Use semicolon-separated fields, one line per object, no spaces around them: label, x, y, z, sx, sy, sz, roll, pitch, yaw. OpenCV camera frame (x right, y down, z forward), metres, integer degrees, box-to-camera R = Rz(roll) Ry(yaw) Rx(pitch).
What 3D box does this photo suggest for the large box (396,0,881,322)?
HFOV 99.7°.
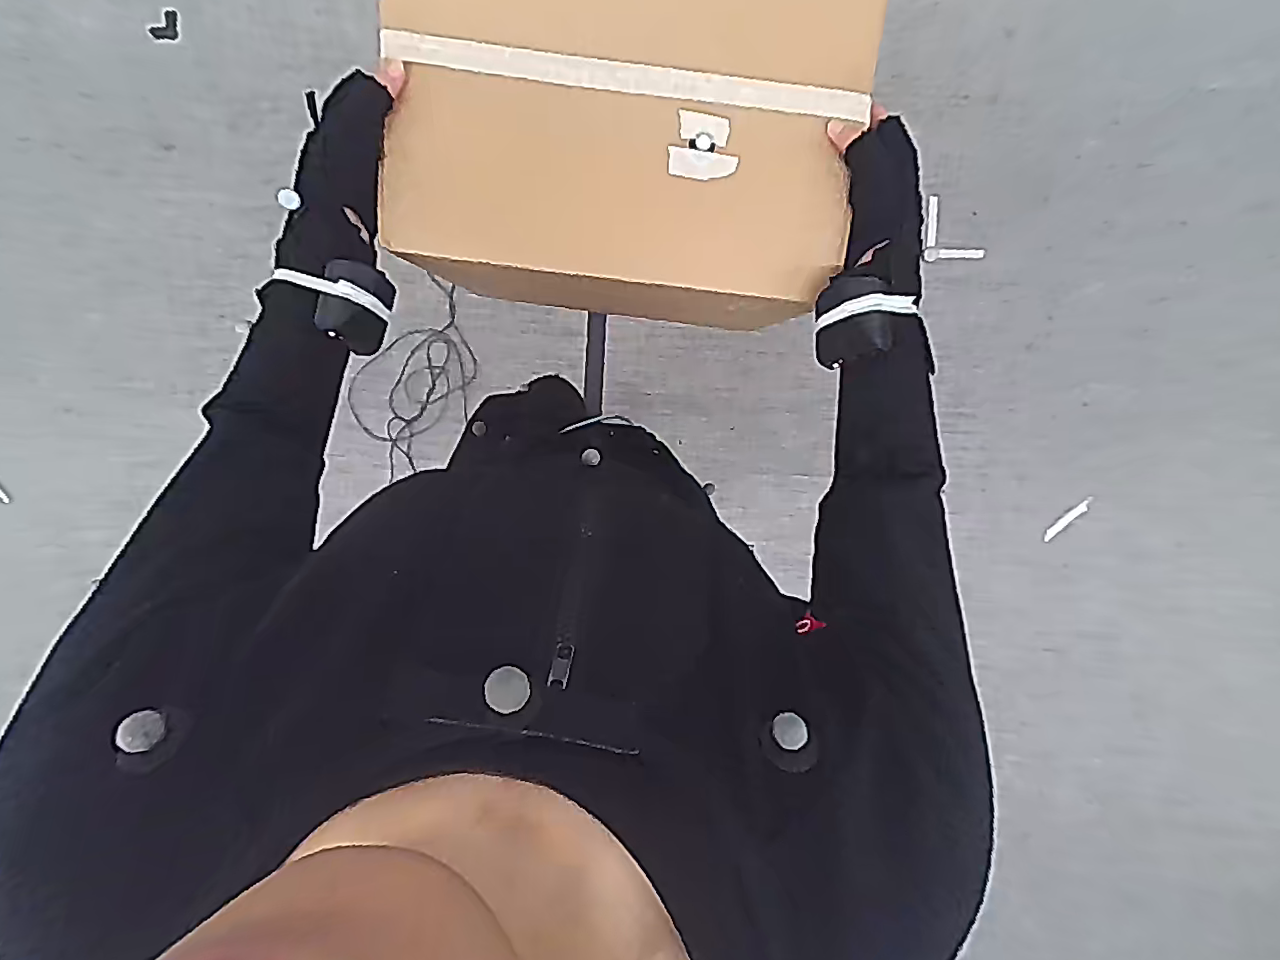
large box;-0.010;-0.366;0.604;0.408;0.320;0.320;6;103;-3
